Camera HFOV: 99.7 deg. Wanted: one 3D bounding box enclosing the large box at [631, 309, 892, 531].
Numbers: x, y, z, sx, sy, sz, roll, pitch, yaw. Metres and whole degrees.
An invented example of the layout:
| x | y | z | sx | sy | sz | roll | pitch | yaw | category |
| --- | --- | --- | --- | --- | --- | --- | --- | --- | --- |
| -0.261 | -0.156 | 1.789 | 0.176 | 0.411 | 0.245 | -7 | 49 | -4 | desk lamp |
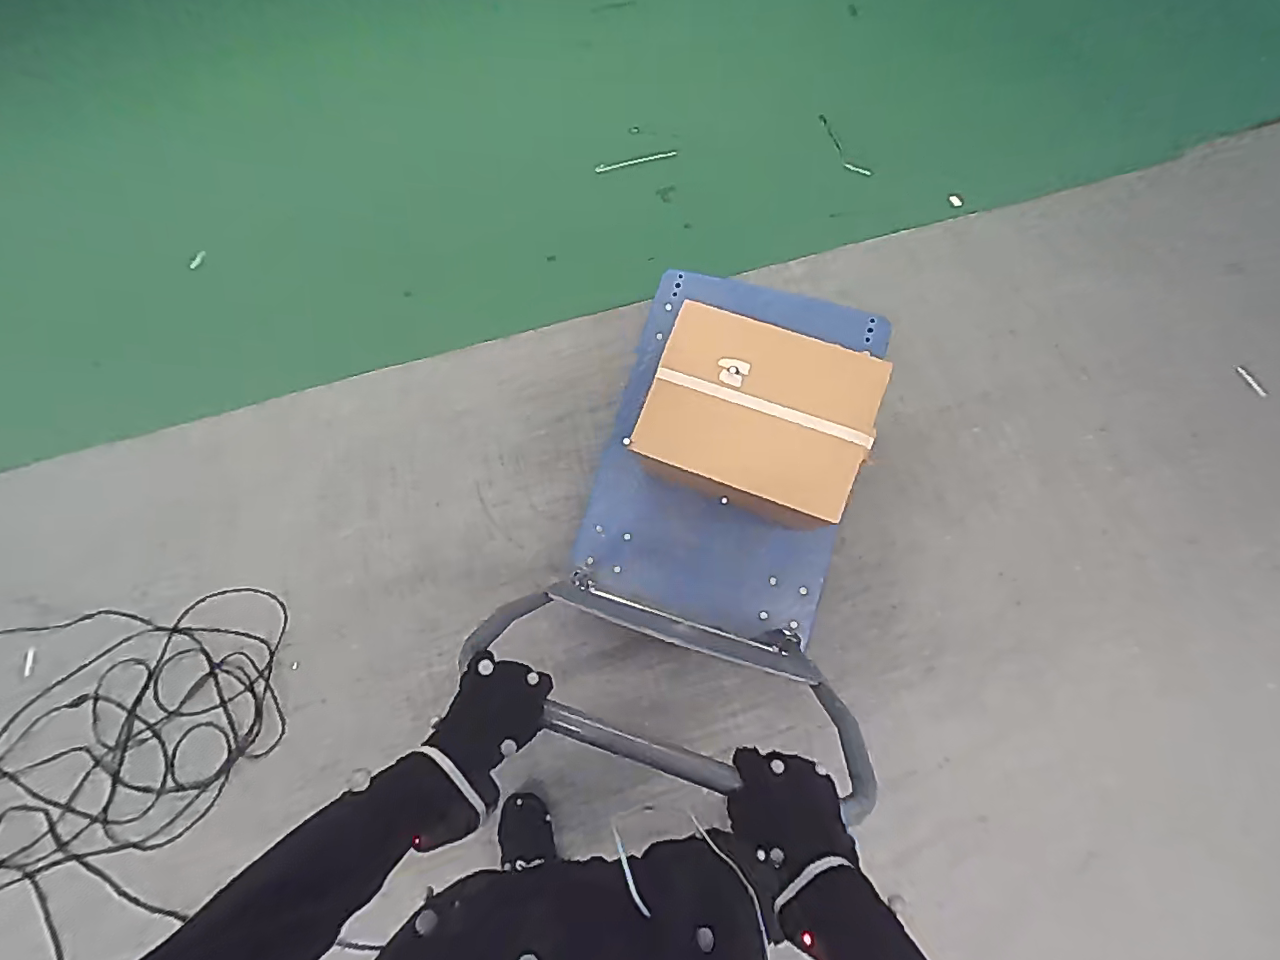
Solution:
| x | y | z | sx | sy | sz | roll | pitch | yaw | category |
| --- | --- | --- | --- | --- | --- | --- | --- | --- | --- |
| 0.241 | -0.103 | 1.137 | 0.408 | 0.320 | 0.320 | 21 | 85 | 10 | large box |
